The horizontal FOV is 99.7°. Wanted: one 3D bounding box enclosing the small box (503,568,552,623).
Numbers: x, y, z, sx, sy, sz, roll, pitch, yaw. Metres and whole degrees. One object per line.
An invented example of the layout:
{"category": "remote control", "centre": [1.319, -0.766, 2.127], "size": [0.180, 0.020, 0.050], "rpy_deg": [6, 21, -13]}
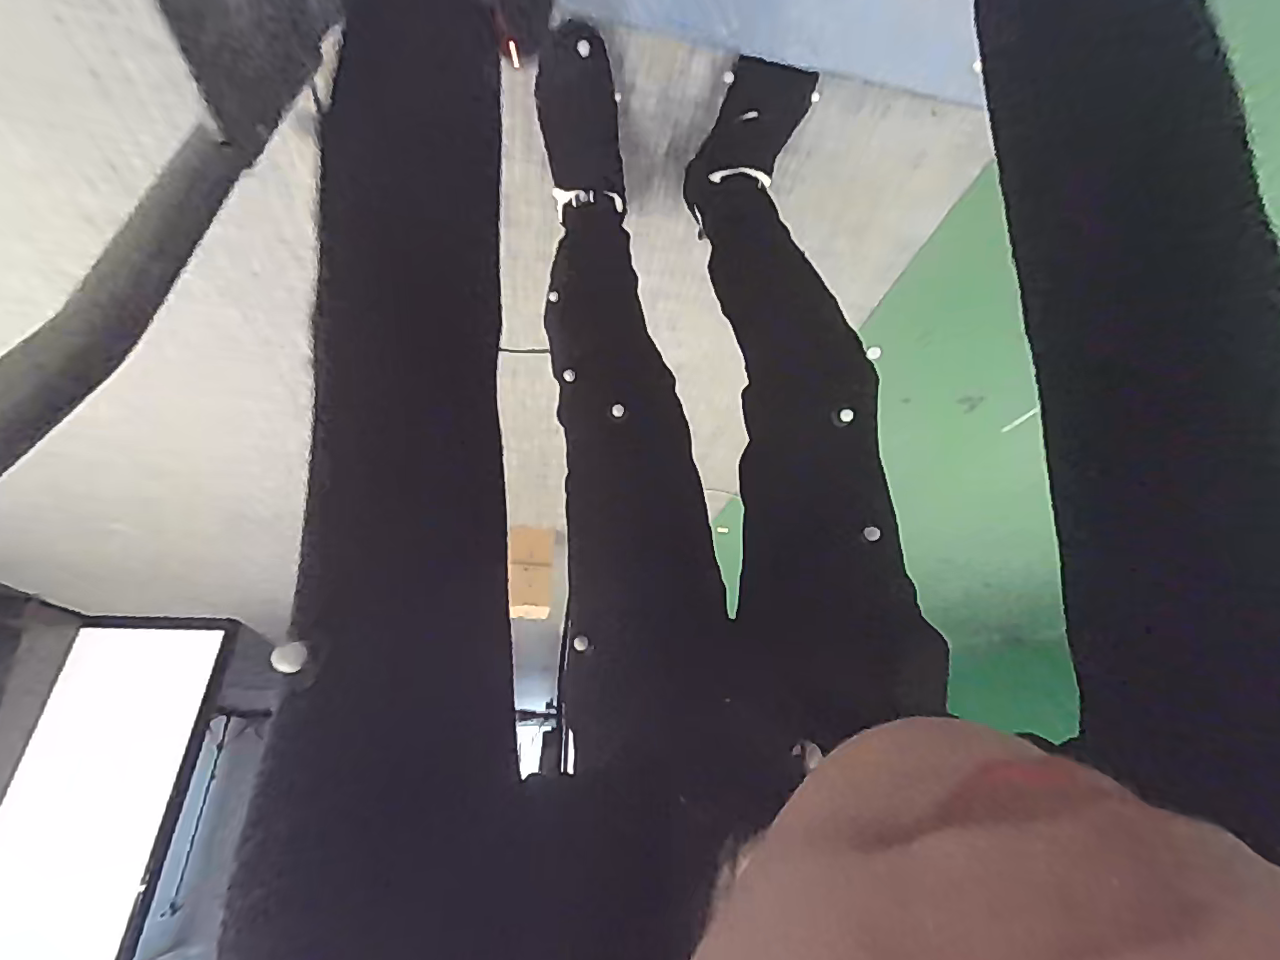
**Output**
{"category": "small box", "centre": [-0.443, 0.456, 2.133], "size": [0.168, 0.176, 0.179], "rpy_deg": [7, 149, -14]}

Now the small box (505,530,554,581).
{"category": "small box", "centre": [-0.451, 0.314, 2.213], "size": [0.179, 0.176, 0.168], "rpy_deg": [8, 150, -15]}
